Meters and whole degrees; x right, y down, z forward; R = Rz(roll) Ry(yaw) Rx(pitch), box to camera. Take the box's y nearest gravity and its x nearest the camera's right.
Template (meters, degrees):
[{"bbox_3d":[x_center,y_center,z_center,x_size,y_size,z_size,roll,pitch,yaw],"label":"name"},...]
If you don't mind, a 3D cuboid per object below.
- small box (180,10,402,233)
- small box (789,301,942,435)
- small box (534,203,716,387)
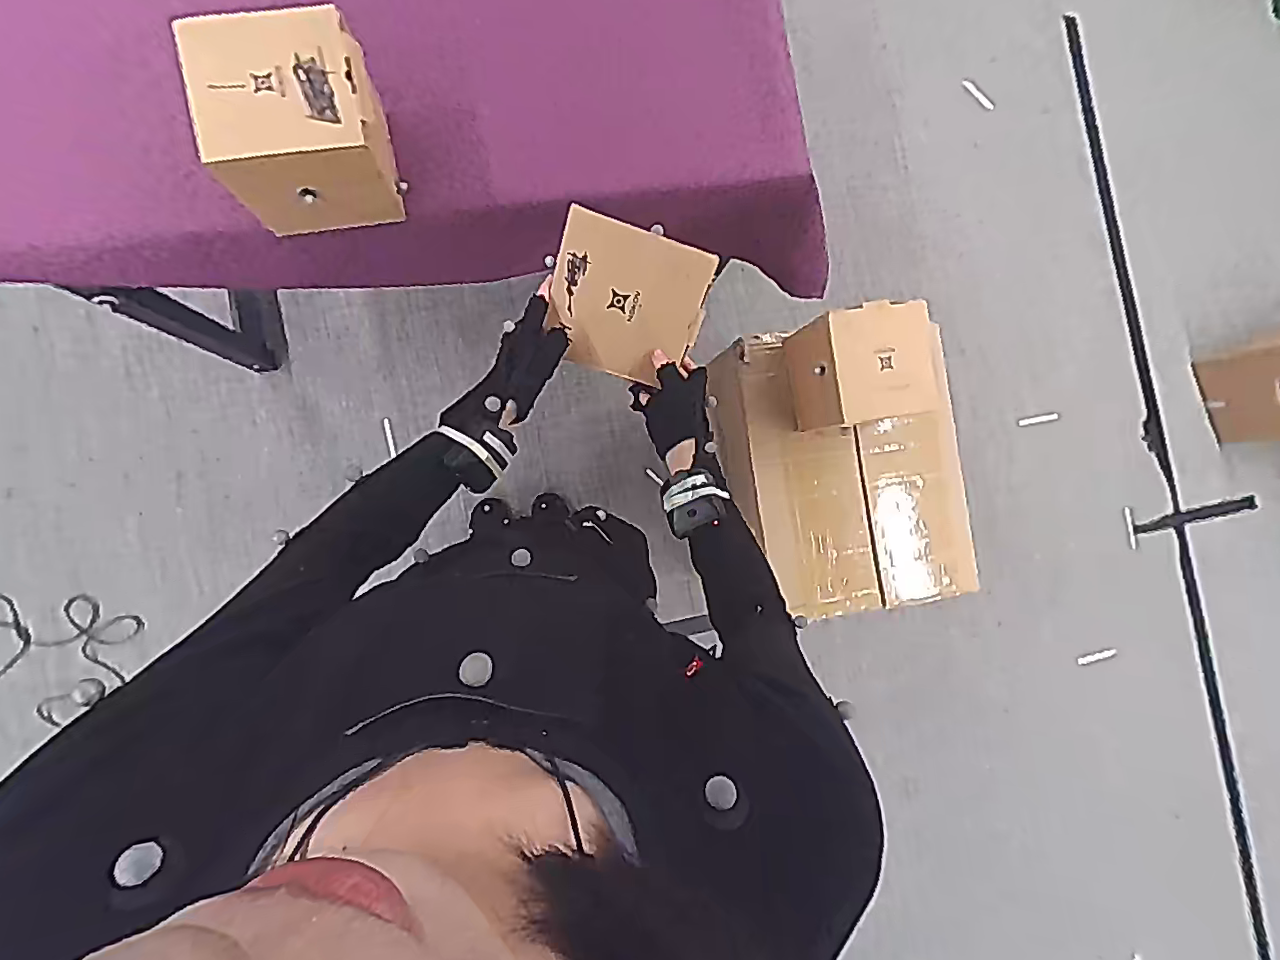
[{"bbox_3d":[-0.418,-0.438,0.683,0.179,0.176,0.168,-12,89,-9],"label":"small box"},{"bbox_3d":[0.364,-0.179,0.903,0.168,0.176,0.179,-9,91,-7],"label":"small box"},{"bbox_3d":[-0.025,-0.238,0.698,0.179,0.176,0.168,15,110,-10],"label":"small box"}]
